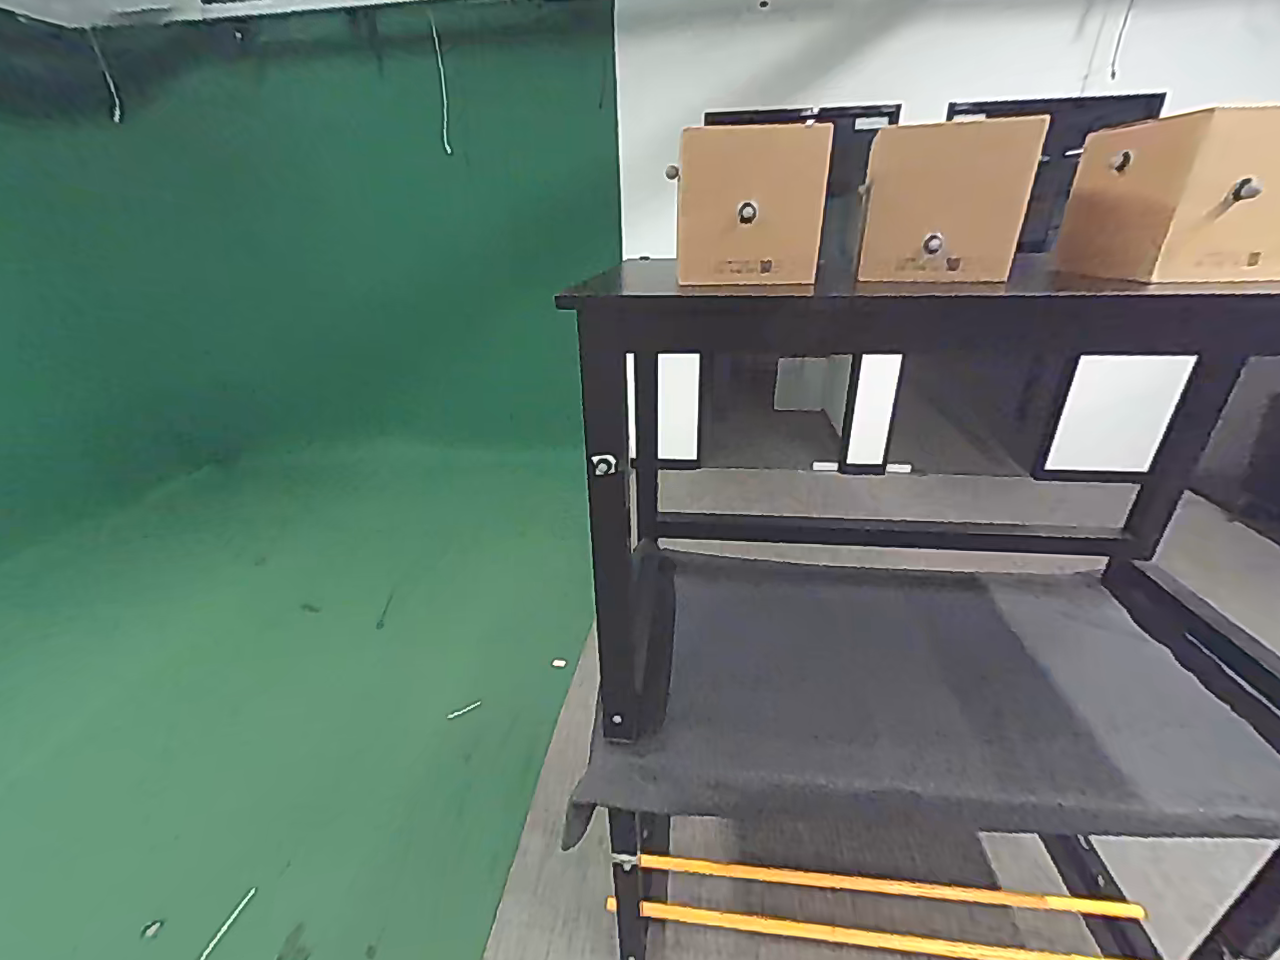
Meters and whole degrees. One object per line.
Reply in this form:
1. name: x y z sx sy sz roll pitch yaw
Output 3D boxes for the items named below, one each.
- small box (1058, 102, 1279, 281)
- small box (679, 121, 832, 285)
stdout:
1. small box: 0.645 -0.326 0.631 0.168 0.176 0.179 0 25 2
2. small box: 0.135 -0.347 0.698 0.168 0.176 0.179 1 25 3
